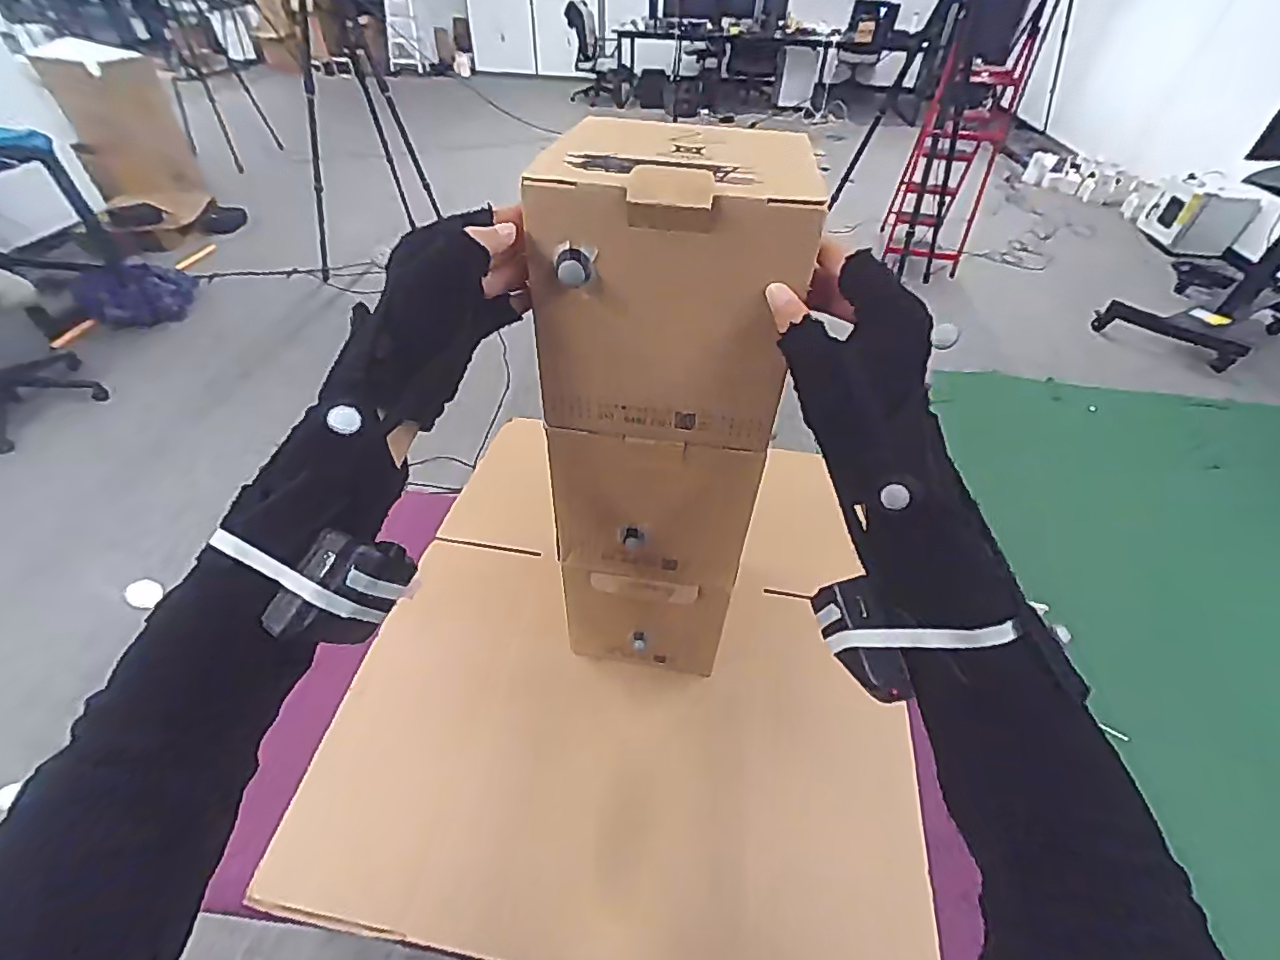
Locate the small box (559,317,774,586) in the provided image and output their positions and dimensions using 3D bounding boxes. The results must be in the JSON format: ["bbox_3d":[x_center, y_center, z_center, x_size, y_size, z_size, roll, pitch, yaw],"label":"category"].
[{"bbox_3d":[0.026,-0.029,0.512,0.168,0.176,0.179,8,44,4],"label":"small box"}]

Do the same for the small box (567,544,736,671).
[{"bbox_3d":[0.020,0.089,0.624,0.168,0.176,0.179,9,44,6],"label":"small box"}]
